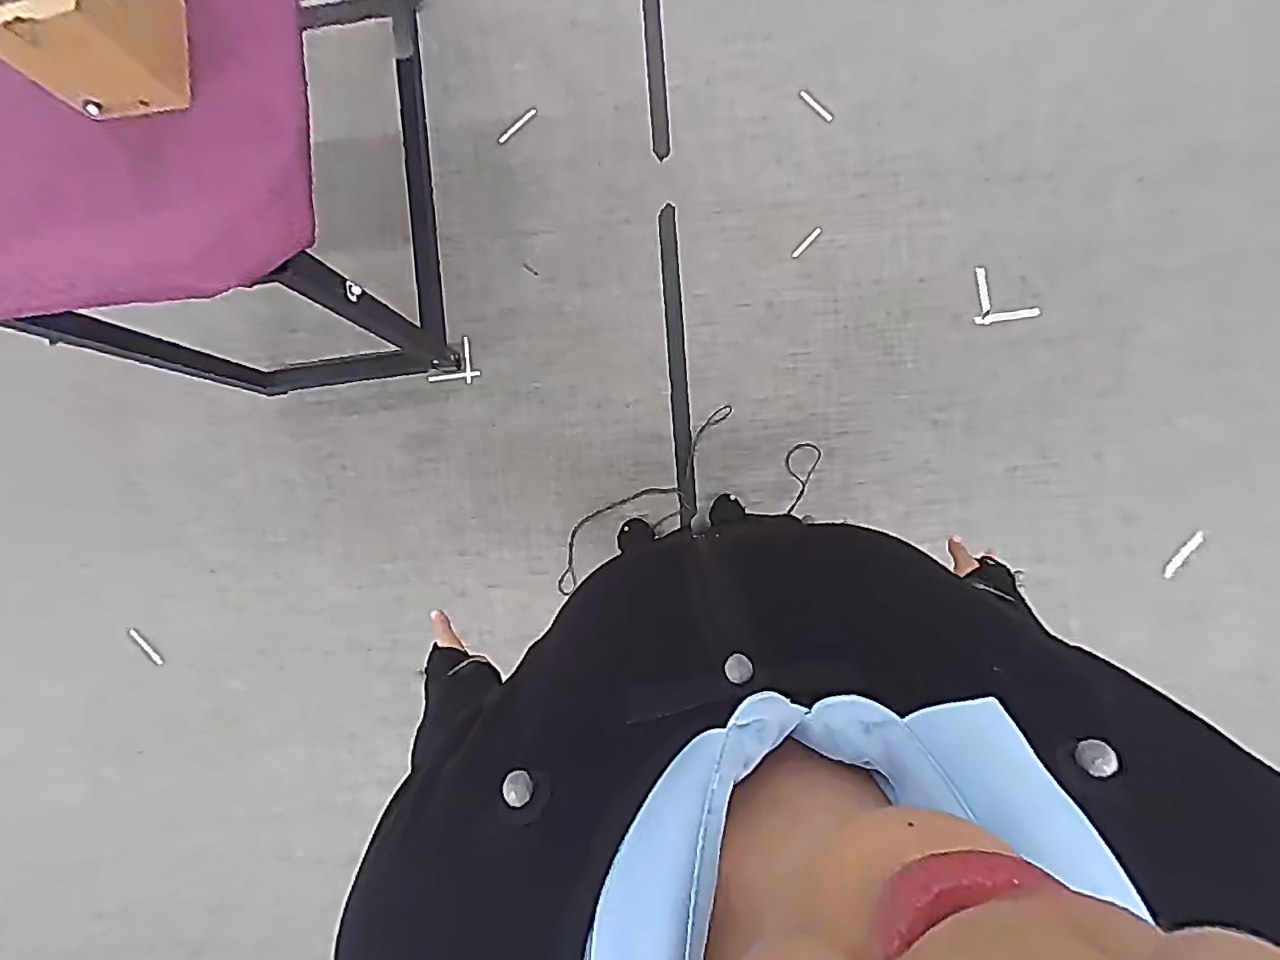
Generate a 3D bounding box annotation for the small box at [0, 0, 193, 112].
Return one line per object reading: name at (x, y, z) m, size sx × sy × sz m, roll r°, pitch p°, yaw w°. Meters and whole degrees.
small box at (-0.787, -0.665, 0.775) m, size 0.168 × 0.176 × 0.179 m, roll -5°, pitch 87°, yaw 3°
